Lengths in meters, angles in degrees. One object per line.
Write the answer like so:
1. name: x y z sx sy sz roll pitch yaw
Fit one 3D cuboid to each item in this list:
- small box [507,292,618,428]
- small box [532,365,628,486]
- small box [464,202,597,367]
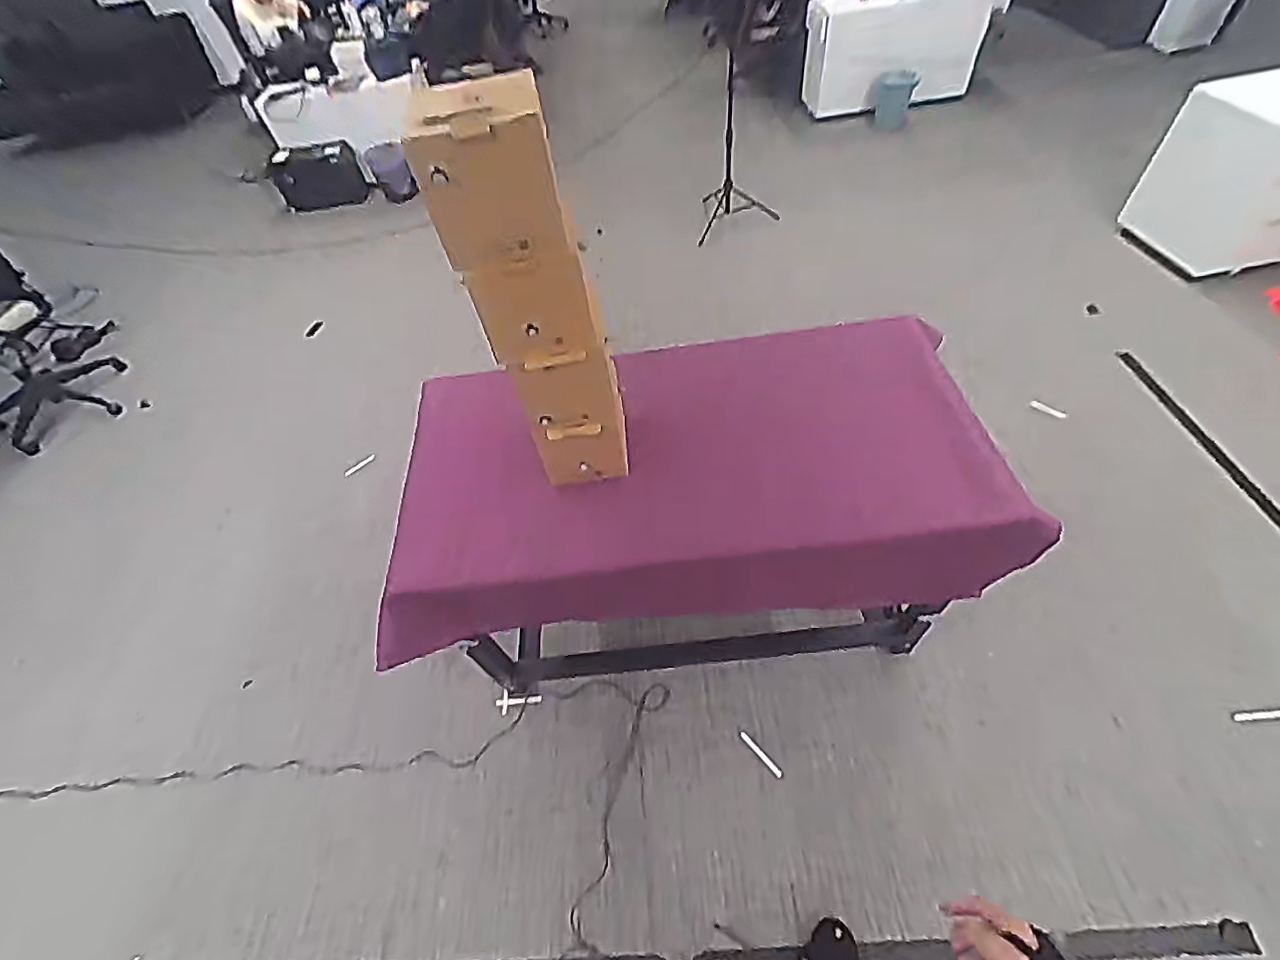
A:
1. small box: -0.138 -0.211 0.991 0.168 0.176 0.179 -10 51 0
2. small box: -0.118 -0.111 1.119 0.168 0.176 0.179 -7 52 3
3. small box: -0.172 -0.310 0.865 0.168 0.176 0.179 -14 52 -2
